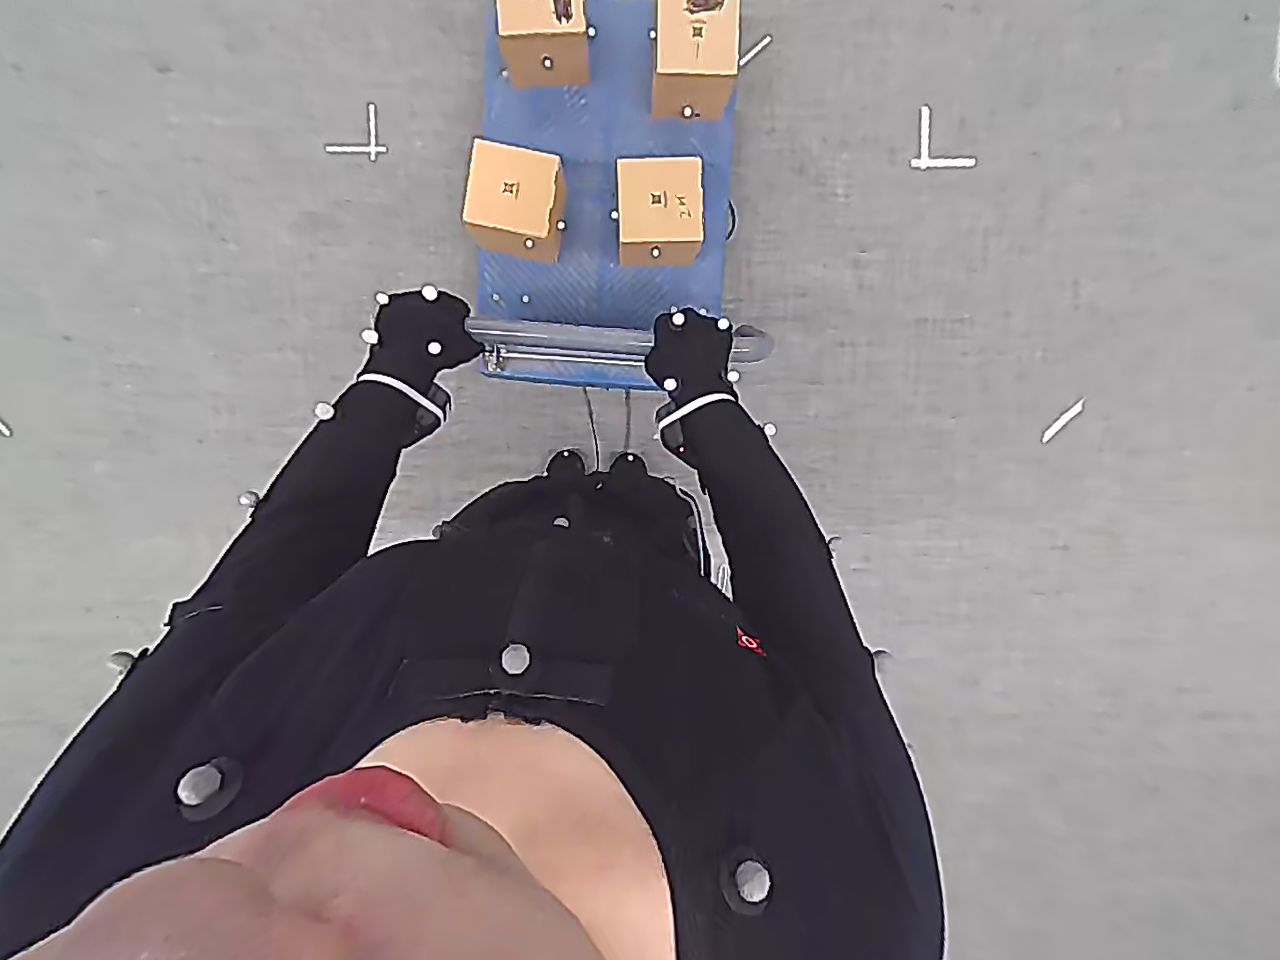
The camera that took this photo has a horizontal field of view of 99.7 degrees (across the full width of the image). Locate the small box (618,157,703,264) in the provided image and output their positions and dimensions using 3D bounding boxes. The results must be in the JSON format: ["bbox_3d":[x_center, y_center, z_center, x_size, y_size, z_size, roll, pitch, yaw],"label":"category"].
[{"bbox_3d":[0.042,-0.585,1.194,0.179,0.176,0.168,-2,95,-1],"label":"small box"}]

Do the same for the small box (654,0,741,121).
[{"bbox_3d":[0.117,-0.916,1.166,0.168,0.176,0.179,1,96,-1],"label":"small box"}]

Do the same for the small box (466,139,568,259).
[{"bbox_3d":[-0.261,-0.604,1.184,0.179,0.176,0.168,9,94,-4],"label":"small box"}]
